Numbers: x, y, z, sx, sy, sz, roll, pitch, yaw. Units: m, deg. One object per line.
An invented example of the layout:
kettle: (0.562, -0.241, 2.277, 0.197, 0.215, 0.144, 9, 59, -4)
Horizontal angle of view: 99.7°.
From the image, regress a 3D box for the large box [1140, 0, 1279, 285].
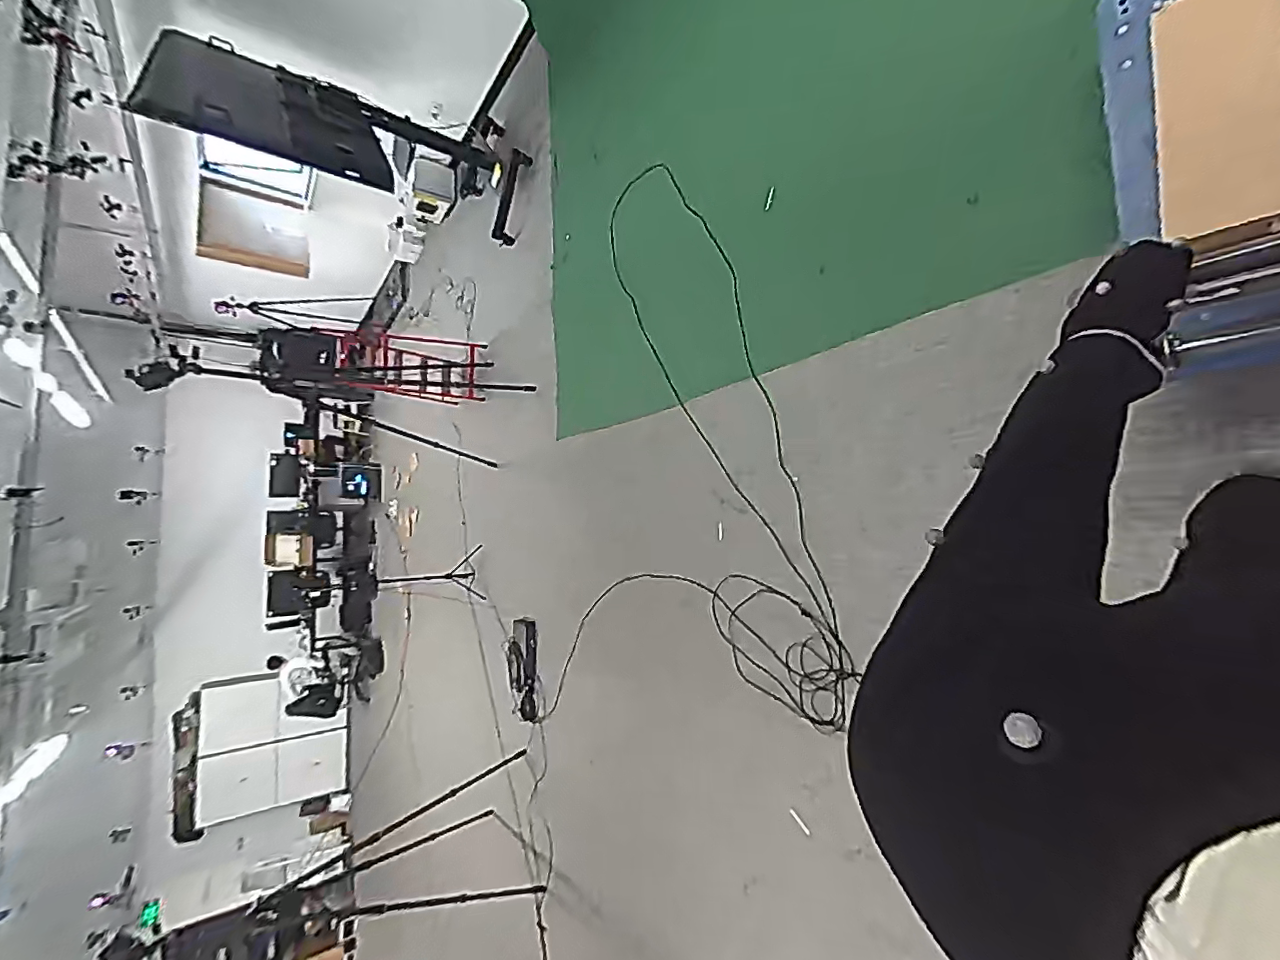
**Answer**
large box: (1.047, -0.587, 0.856, 0.320, 0.320, 0.408, -4, 85, 52)
